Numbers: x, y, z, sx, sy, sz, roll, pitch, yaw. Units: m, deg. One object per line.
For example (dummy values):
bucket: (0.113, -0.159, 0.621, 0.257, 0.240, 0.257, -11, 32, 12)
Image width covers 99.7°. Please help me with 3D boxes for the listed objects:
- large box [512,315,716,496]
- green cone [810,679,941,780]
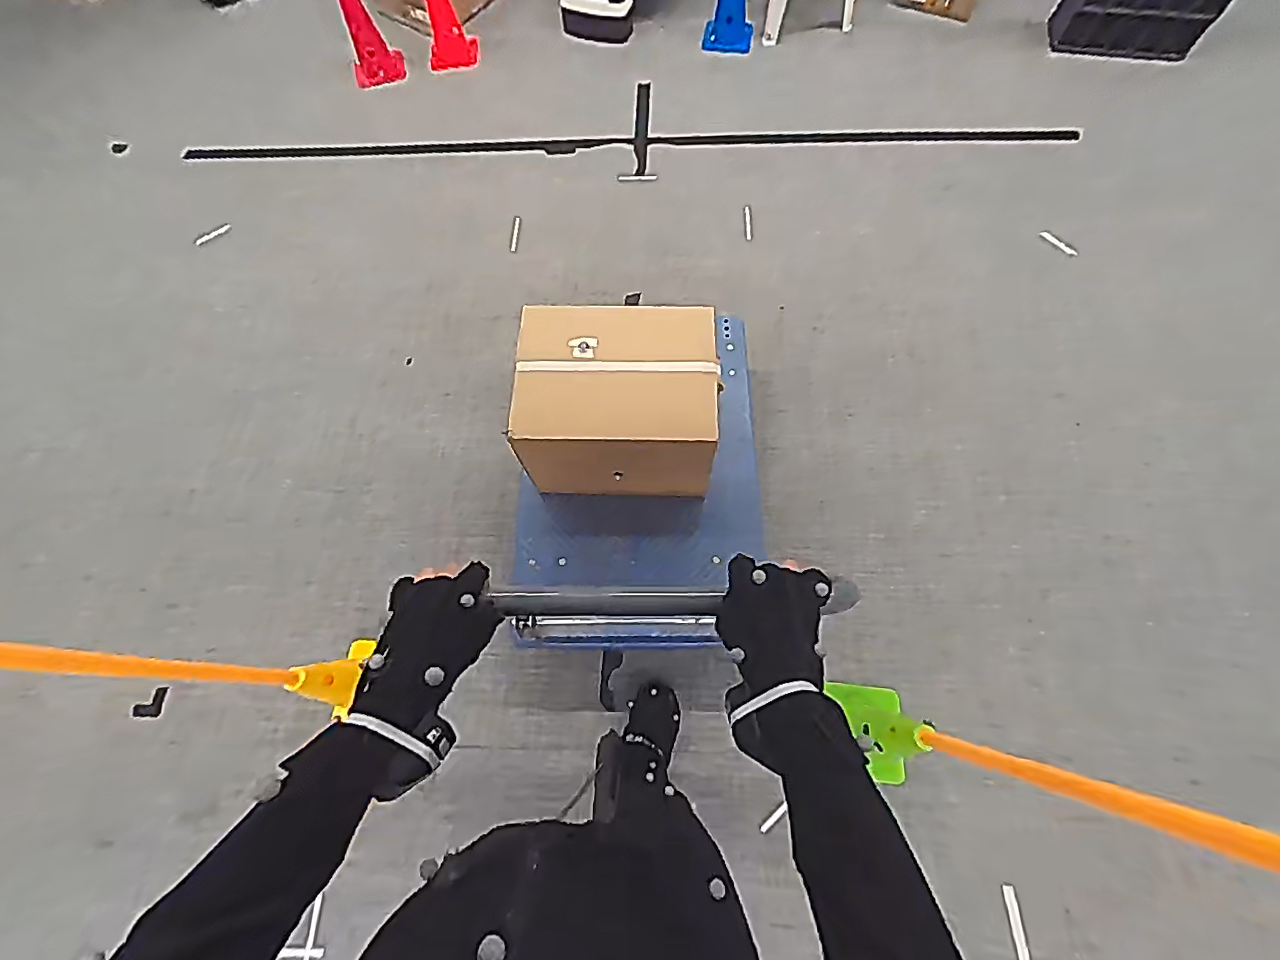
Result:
large box: (-0.041, -0.154, 1.232, 0.408, 0.320, 0.320, 1, 69, 3)
green cone: (0.495, 0.510, 1.093, 0.202, 0.368, 0.200, 5, 68, 3)
